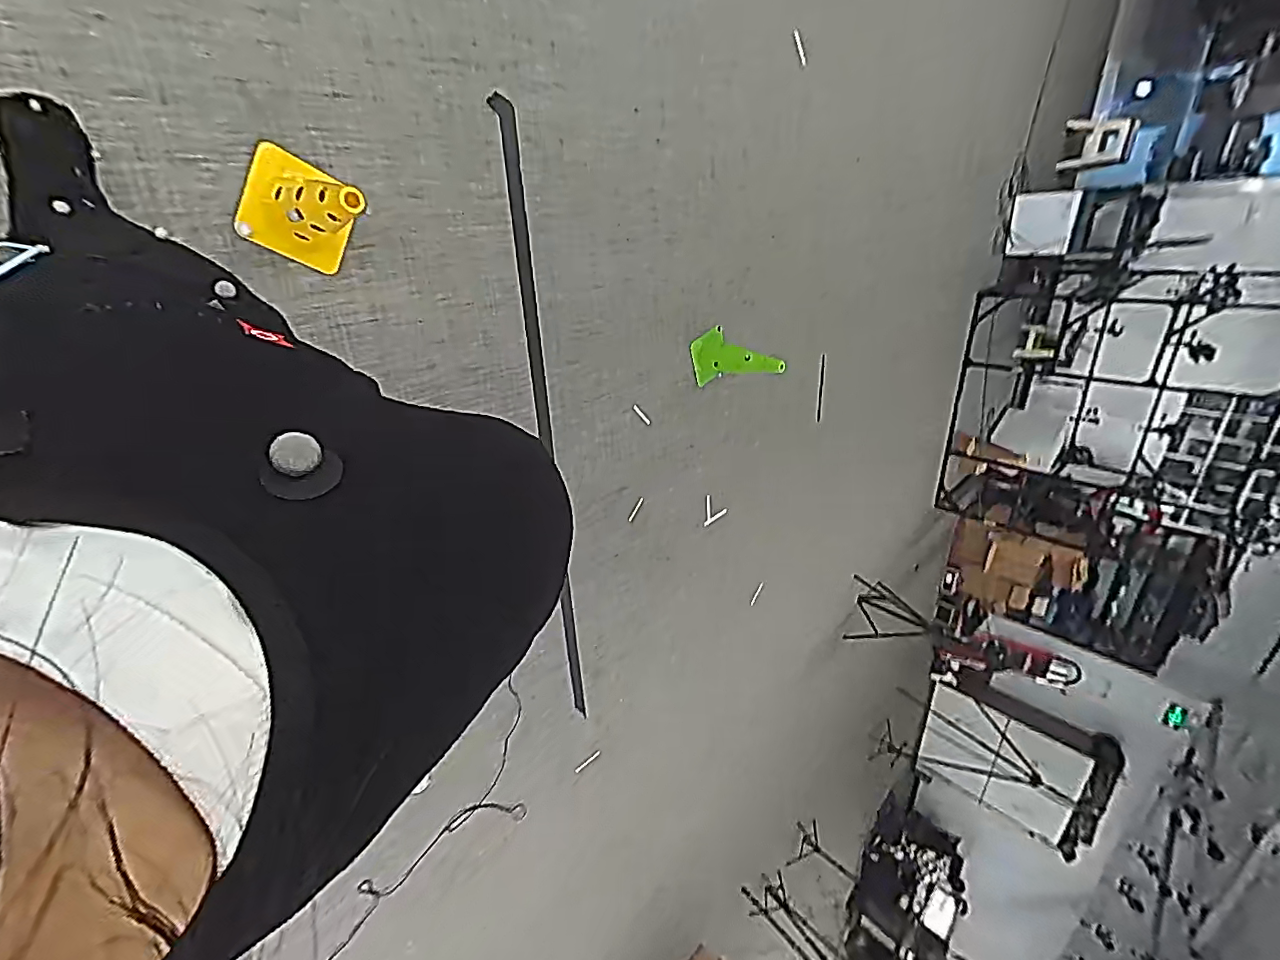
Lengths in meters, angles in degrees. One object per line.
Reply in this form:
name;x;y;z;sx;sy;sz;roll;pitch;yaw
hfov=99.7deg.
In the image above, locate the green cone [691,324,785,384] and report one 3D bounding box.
green cone;0.407;-0.477;2.144;0.200;0.368;0.202;-40;132;-28
